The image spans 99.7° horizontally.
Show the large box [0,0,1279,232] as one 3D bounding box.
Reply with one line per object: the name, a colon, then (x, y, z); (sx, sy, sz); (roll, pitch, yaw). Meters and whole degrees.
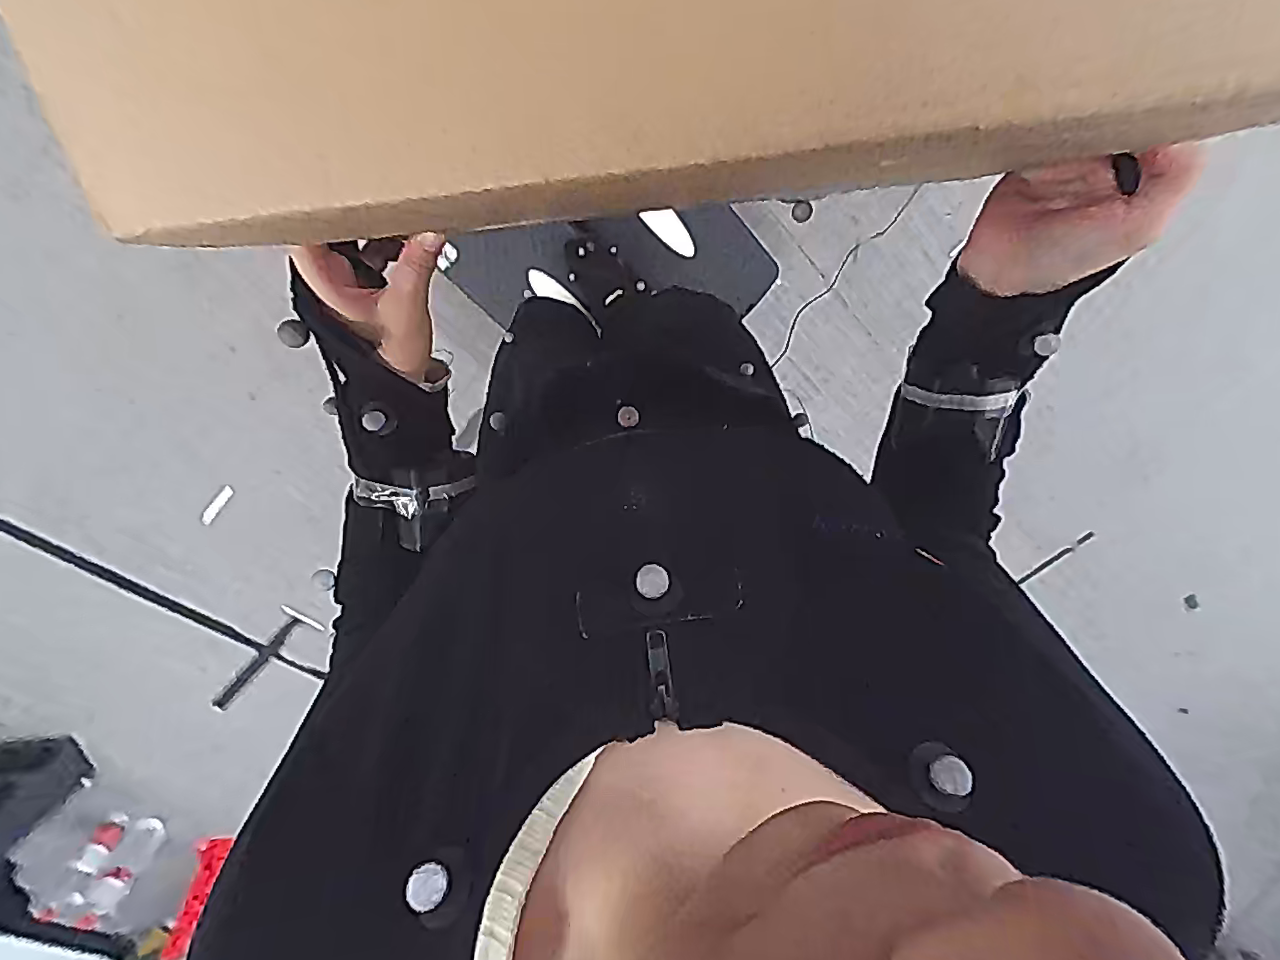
large box: (0.005, -0.298, 0.226); (0.408, 0.320, 0.320); (-4, 116, 7)
